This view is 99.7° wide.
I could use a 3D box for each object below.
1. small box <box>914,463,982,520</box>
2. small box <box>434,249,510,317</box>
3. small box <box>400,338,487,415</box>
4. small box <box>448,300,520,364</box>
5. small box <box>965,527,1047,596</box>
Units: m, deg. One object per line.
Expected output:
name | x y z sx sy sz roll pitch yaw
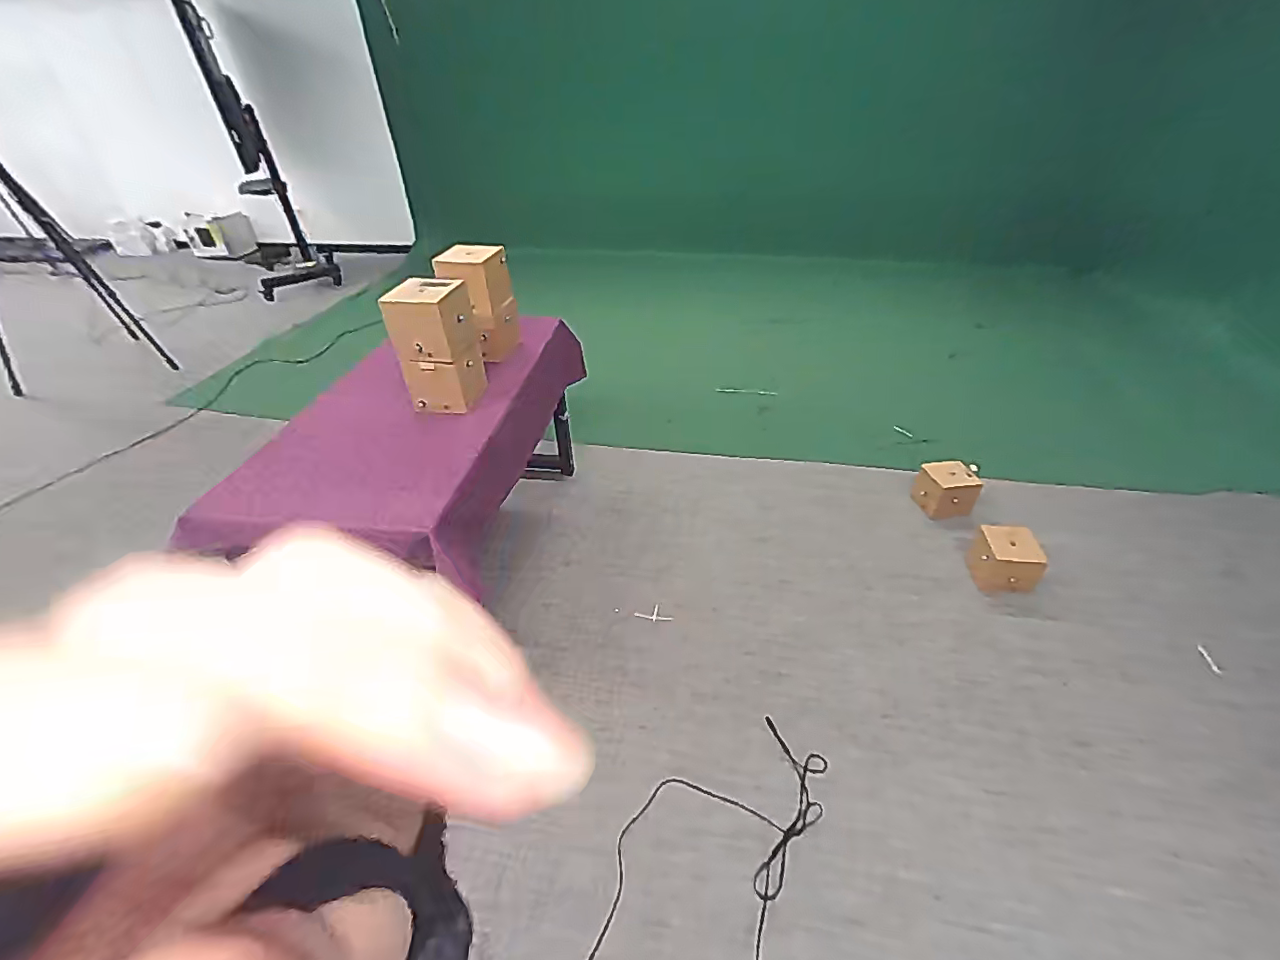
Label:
small box | 1.264 0.049 2.241 0.179 0.176 0.168 -6 38 -5
small box | -0.535 -0.639 1.755 0.168 0.176 0.179 6 39 9
small box | -0.568 -0.305 1.592 0.168 0.176 0.179 3 38 7
small box | -0.526 -0.511 1.855 0.168 0.176 0.179 8 39 11
small box | 1.295 0.292 1.926 0.168 0.176 0.179 5 39 7
